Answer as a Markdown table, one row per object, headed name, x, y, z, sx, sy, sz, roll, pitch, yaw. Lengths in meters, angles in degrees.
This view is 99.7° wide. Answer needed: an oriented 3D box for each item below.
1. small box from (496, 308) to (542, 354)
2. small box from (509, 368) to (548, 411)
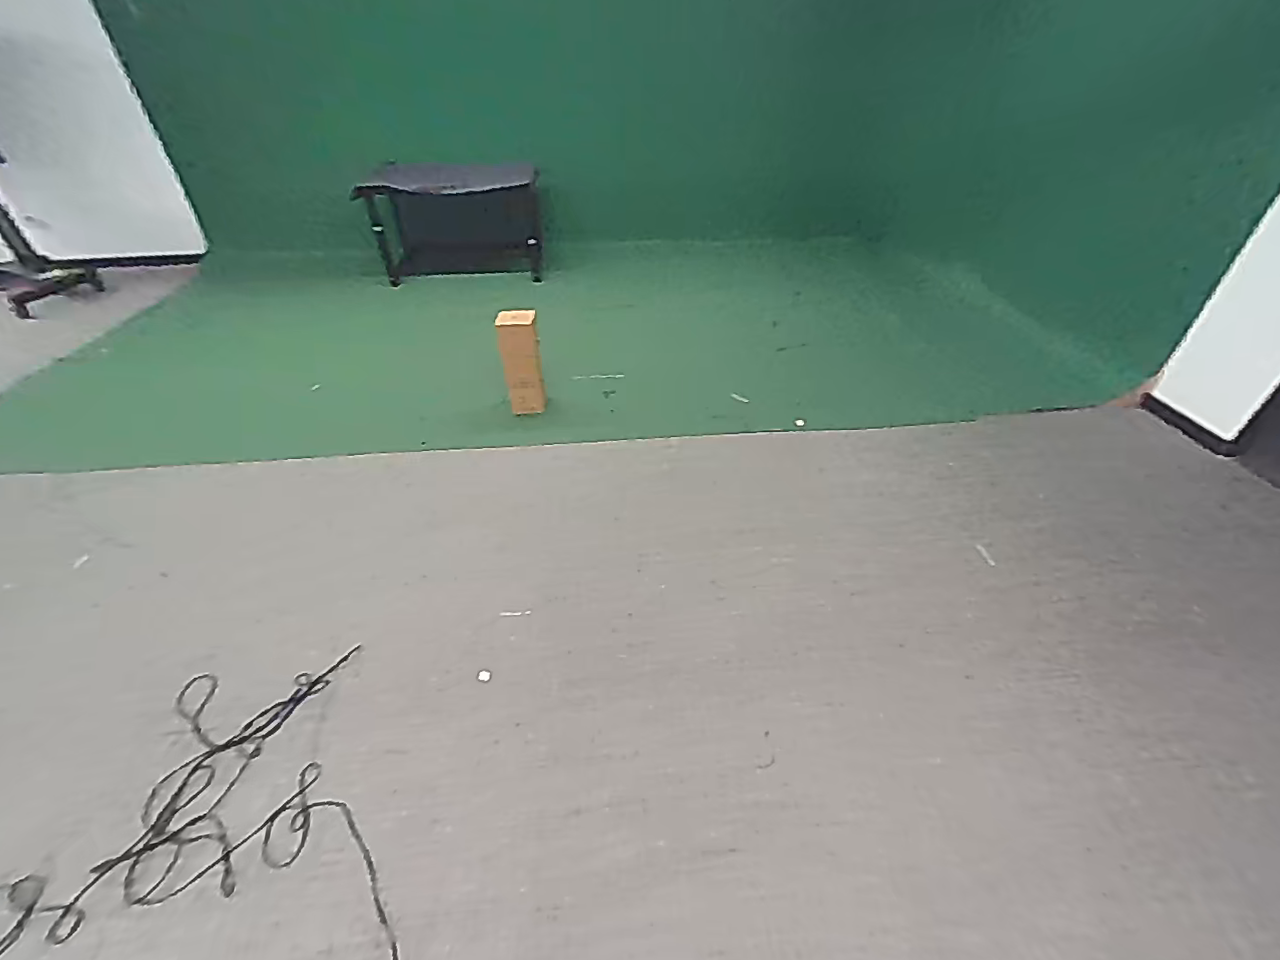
| name | x | y | z | sx | sy | sz | roll | pitch | yaw |
| --- | --- | --- | --- | --- | --- | --- | --- | --- | --- |
| small box | -0.588 | -0.725 | 2.642 | 0.179 | 0.176 | 0.168 | -1 | 40 | 0 |
| small box | -0.585 | -0.474 | 2.857 | 0.168 | 0.176 | 0.179 | -3 | 39 | -2 |
